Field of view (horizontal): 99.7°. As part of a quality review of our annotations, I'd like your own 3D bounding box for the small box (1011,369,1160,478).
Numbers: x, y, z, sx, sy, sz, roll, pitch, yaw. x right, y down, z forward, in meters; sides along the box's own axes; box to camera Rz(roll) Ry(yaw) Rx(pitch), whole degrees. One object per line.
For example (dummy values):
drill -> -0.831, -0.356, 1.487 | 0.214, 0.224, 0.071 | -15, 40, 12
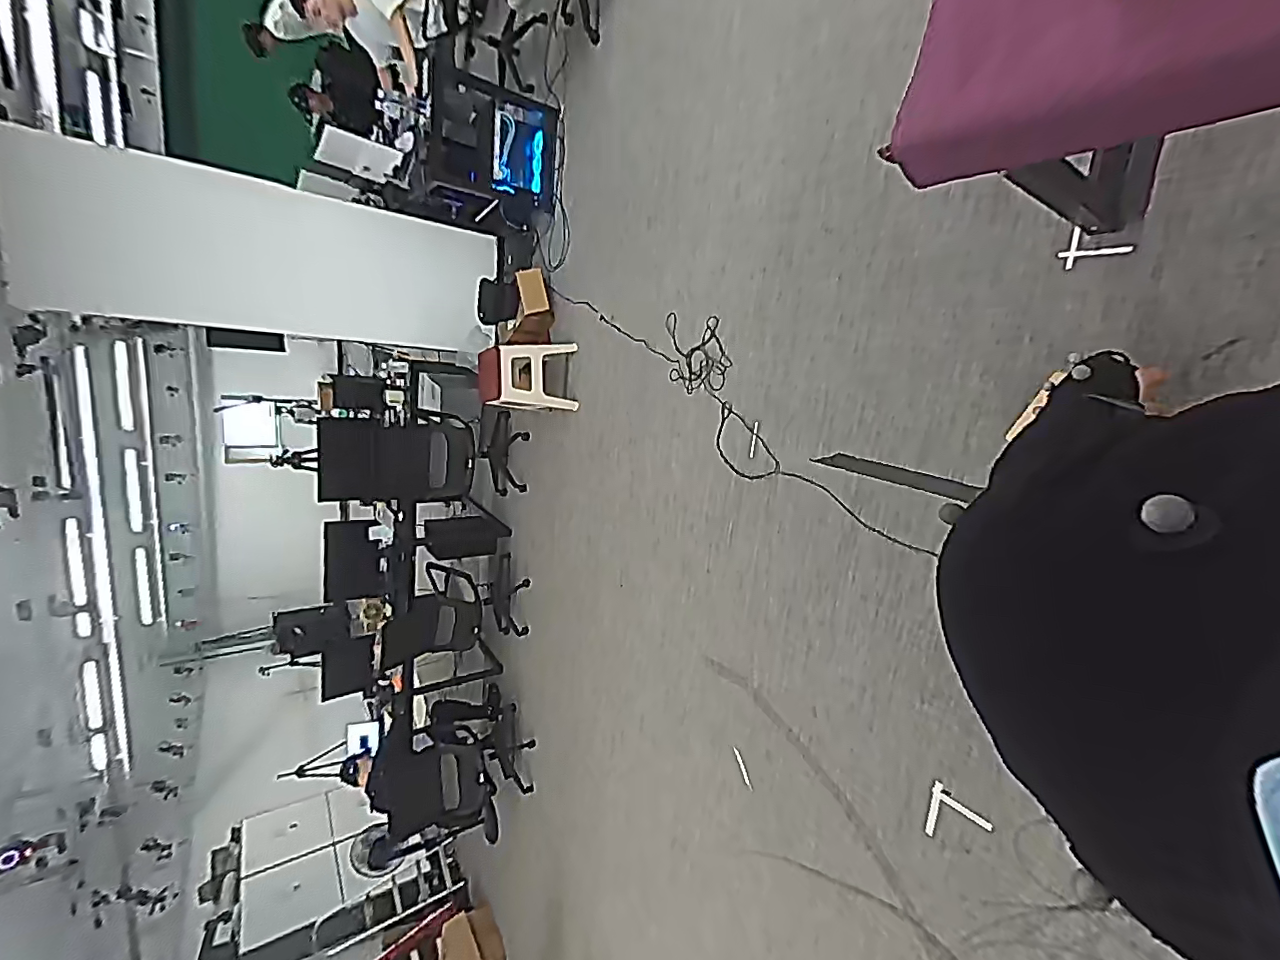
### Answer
small box -> 0.966, -0.122, 1.172 | 0.168, 0.176, 0.179 | 49, 130, 40
